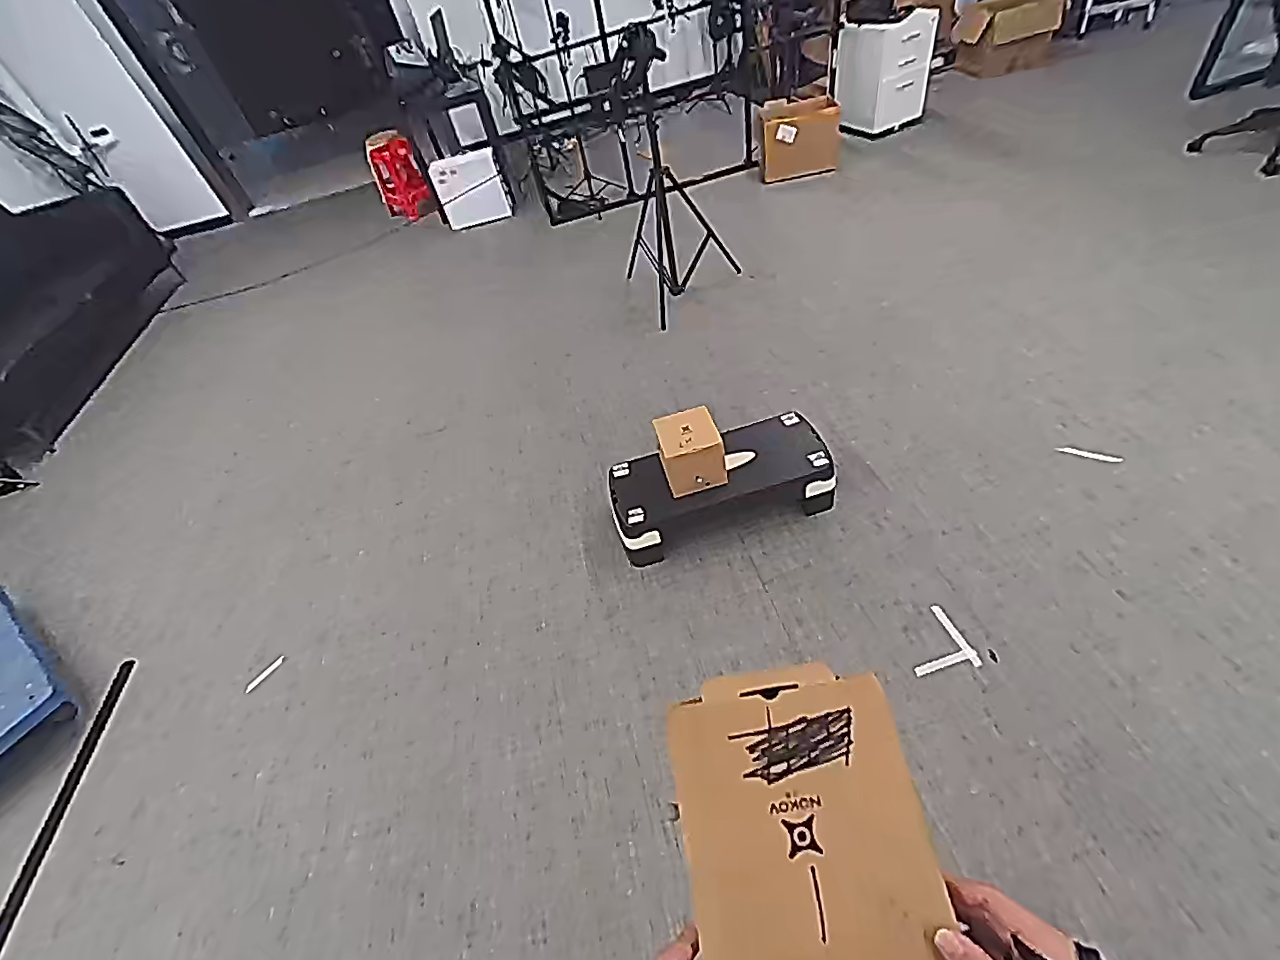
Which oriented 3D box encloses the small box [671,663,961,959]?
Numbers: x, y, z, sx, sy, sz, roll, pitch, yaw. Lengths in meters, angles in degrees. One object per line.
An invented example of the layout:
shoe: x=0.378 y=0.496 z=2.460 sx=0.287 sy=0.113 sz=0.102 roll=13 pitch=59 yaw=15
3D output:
small box: x=0.119 y=0.264 z=0.450 sx=0.168 sy=0.176 sz=0.179 roll=-9 pitch=64 yaw=2

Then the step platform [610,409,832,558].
step platform: x=0.249 y=0.005 z=1.729 sx=0.684 sy=0.204 sz=0.286 roll=-18 pitch=45 yaw=-1

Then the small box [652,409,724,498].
small box: x=0.142 y=-0.076 z=1.590 sx=0.168 sy=0.176 sz=0.179 roll=-16 pitch=46 yaw=0
